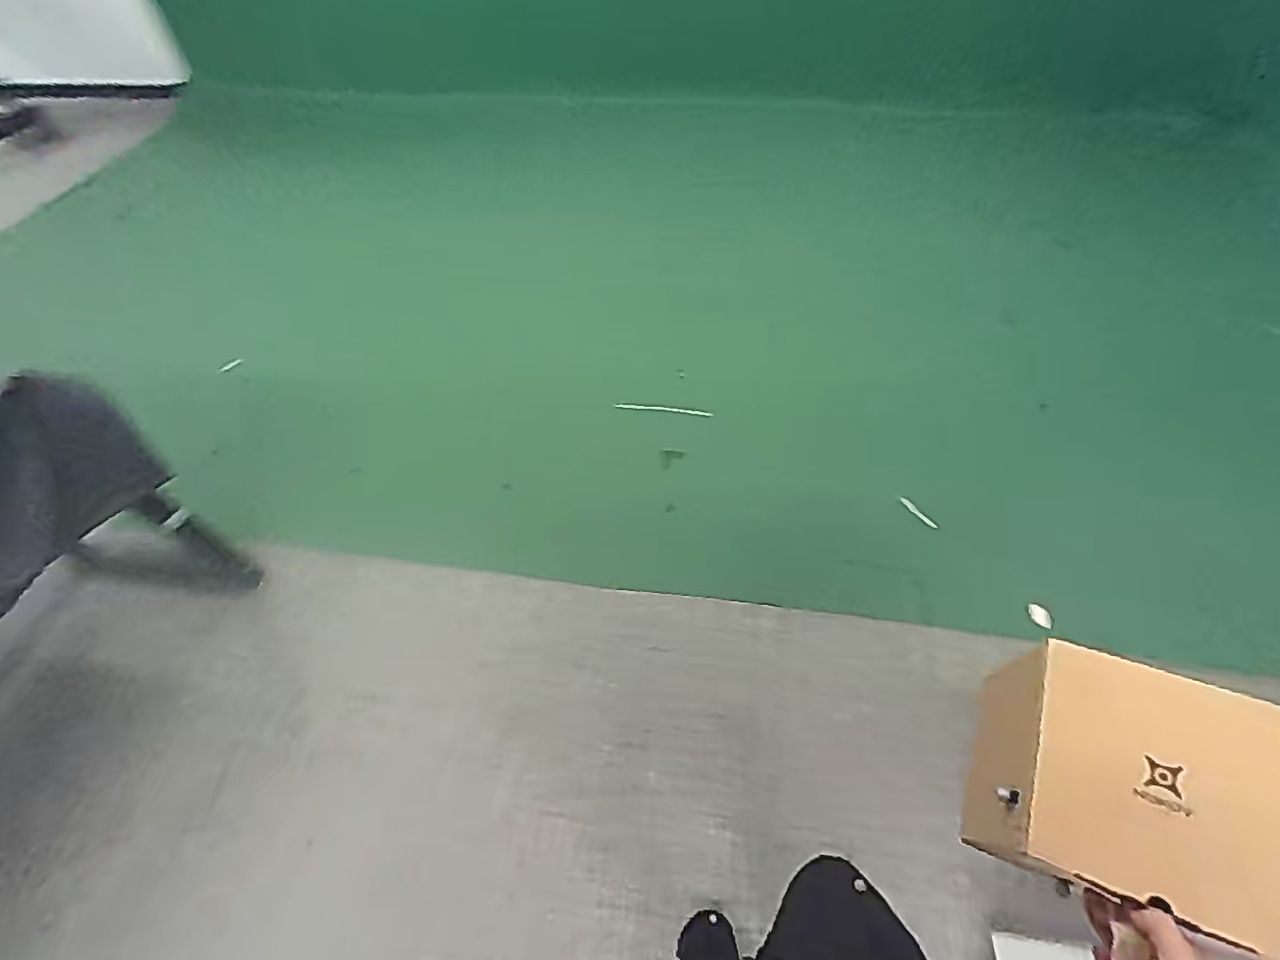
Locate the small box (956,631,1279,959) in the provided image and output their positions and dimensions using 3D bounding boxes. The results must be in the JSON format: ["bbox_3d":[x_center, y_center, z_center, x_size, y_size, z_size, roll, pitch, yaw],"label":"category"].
[{"bbox_3d":[0.403,0.261,0.478,0.168,0.176,0.179,15,66,20],"label":"small box"}]
